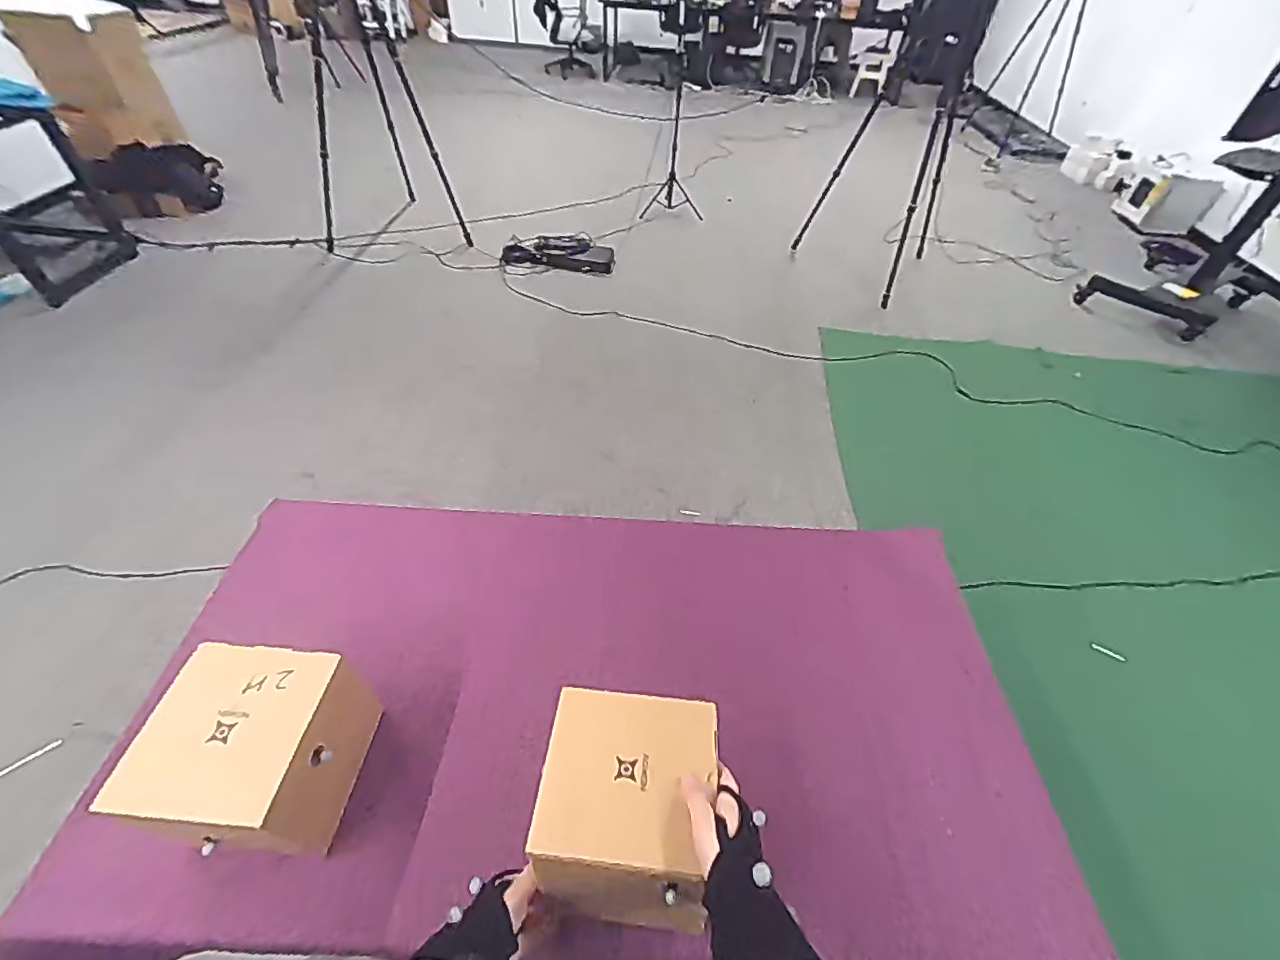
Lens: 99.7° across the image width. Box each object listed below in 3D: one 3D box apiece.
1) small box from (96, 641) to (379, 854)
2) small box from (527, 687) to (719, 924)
[{"bbox_3d":[-0.430,0.310,0.621,0.168,0.176,0.179,6,47,1],"label":"small box"},{"bbox_3d":[-0.010,0.352,0.588,0.179,0.176,0.168,5,39,3],"label":"small box"}]
